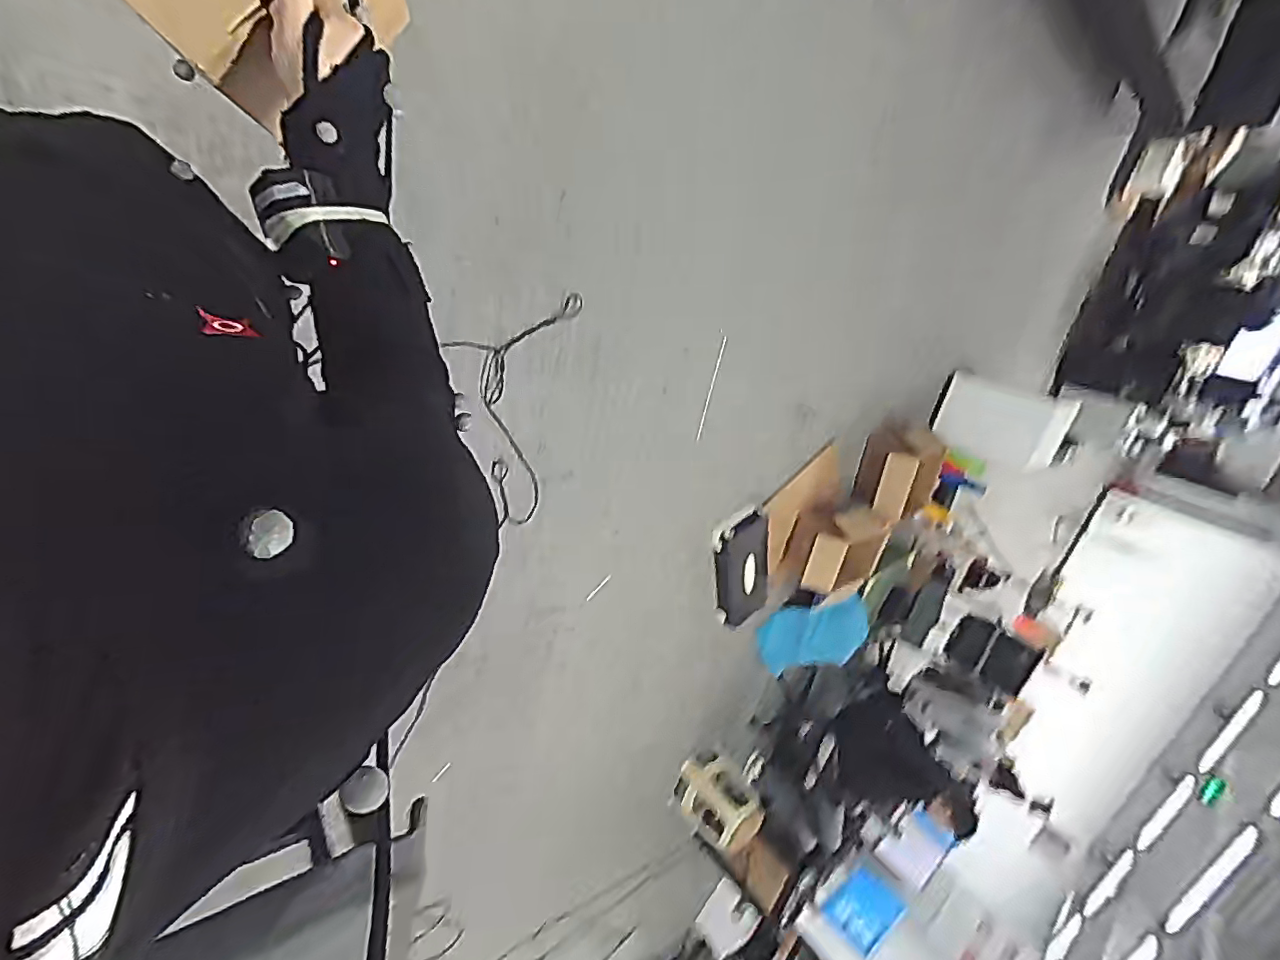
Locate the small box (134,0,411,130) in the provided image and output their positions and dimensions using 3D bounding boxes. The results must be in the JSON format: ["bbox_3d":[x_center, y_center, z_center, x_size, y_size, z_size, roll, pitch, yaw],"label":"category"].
[{"bbox_3d":[-0.298,-0.399,0.399,0.168,0.176,0.179,-45,111,0],"label":"small box"}]
